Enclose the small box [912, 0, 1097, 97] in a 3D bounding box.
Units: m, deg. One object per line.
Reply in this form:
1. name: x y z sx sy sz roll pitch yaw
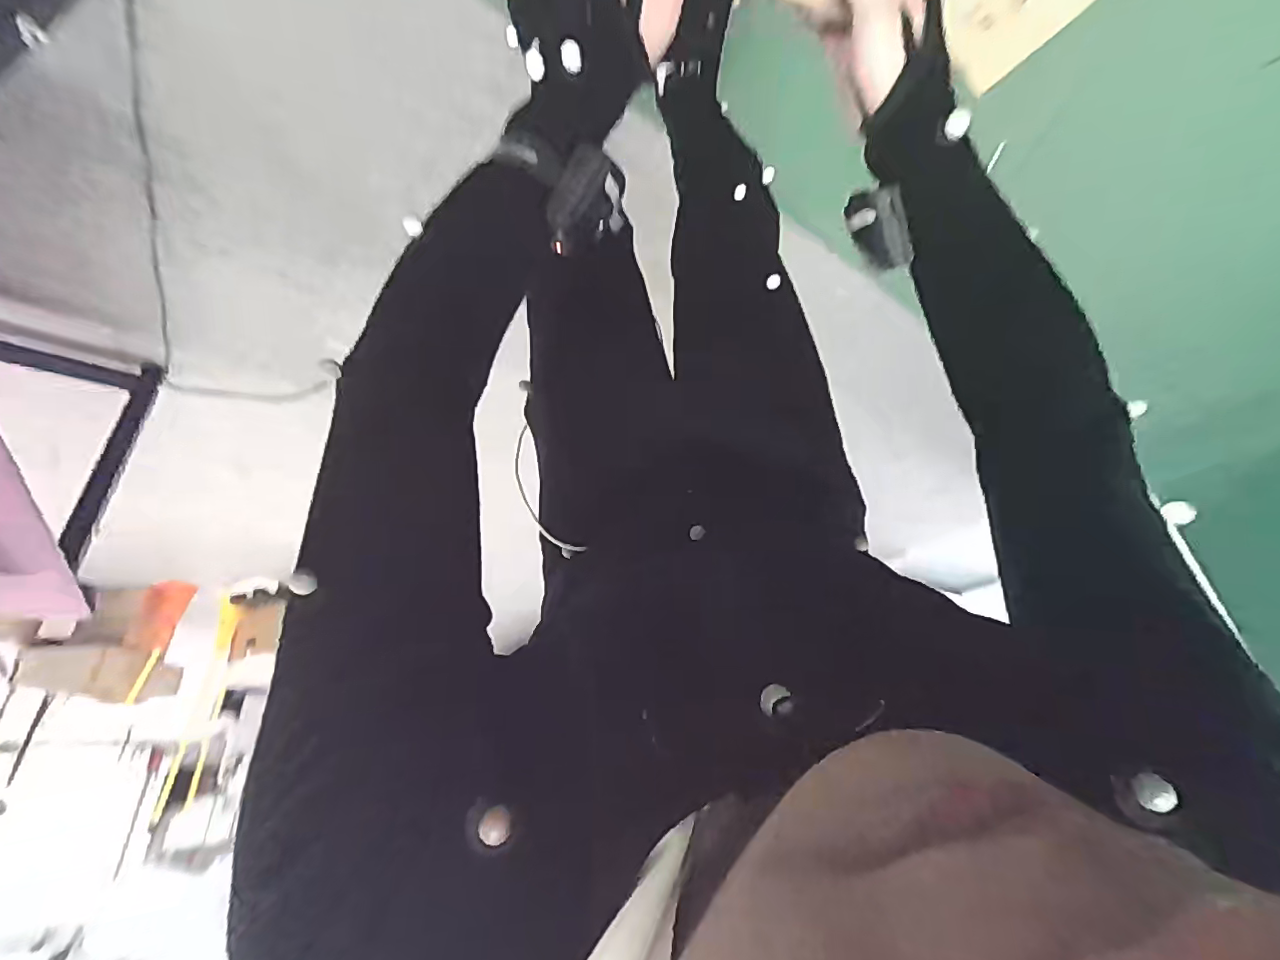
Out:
1. small box: 0.477 -0.681 0.720 0.168 0.176 0.179 20 144 -36
